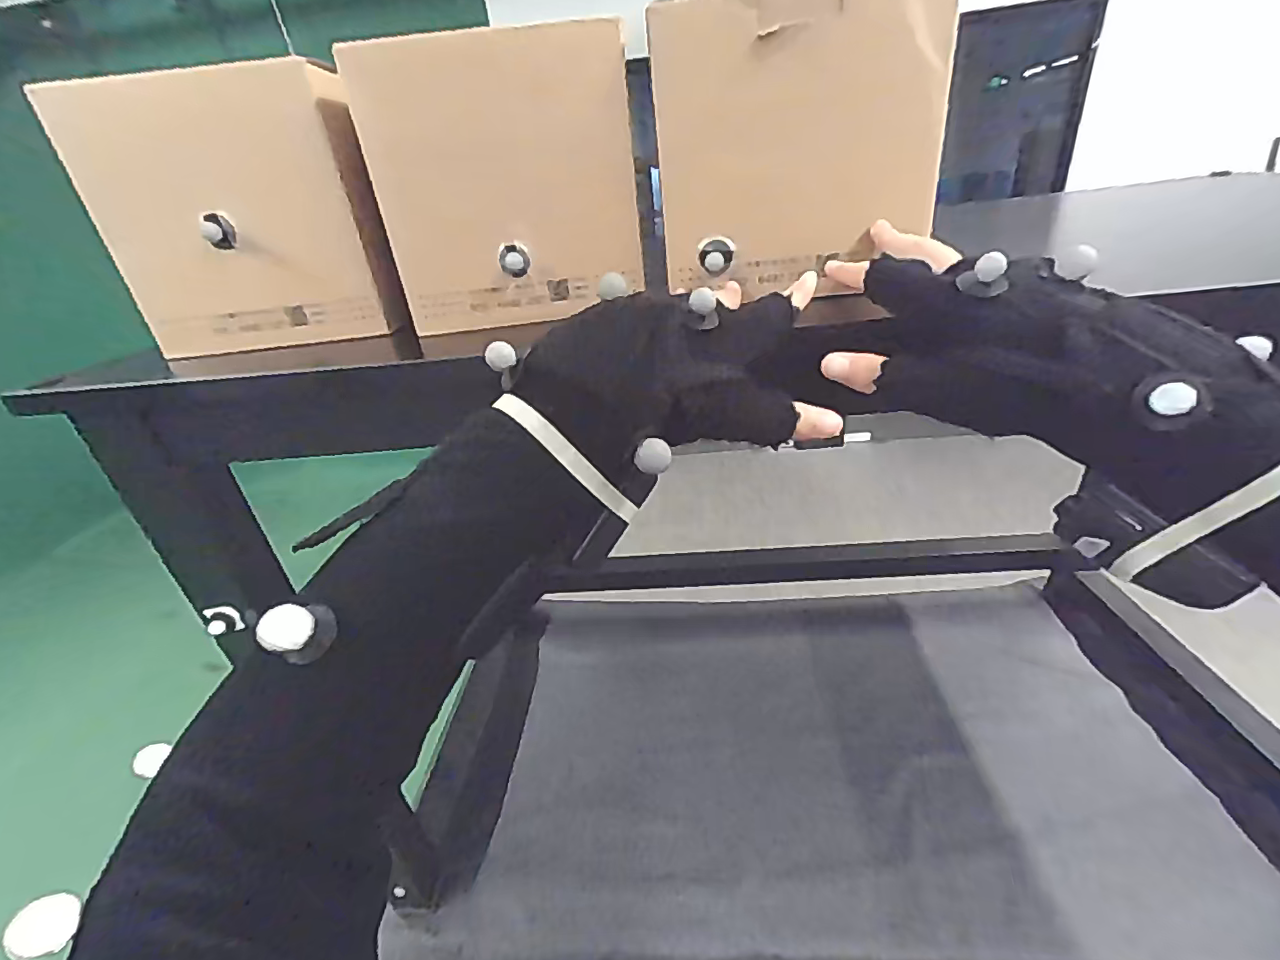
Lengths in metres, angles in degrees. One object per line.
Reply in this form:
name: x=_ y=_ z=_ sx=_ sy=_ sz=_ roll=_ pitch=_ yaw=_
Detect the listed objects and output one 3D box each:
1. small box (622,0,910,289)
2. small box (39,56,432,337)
small box: x=0.090 y=-0.244 z=0.407 sx=0.168 sy=0.176 sz=0.179 roll=-2 pitch=28 yaw=9
small box: x=-0.289 y=-0.219 z=0.445 sx=0.168 sy=0.176 sz=0.179 roll=-6 pitch=28 yaw=-1
